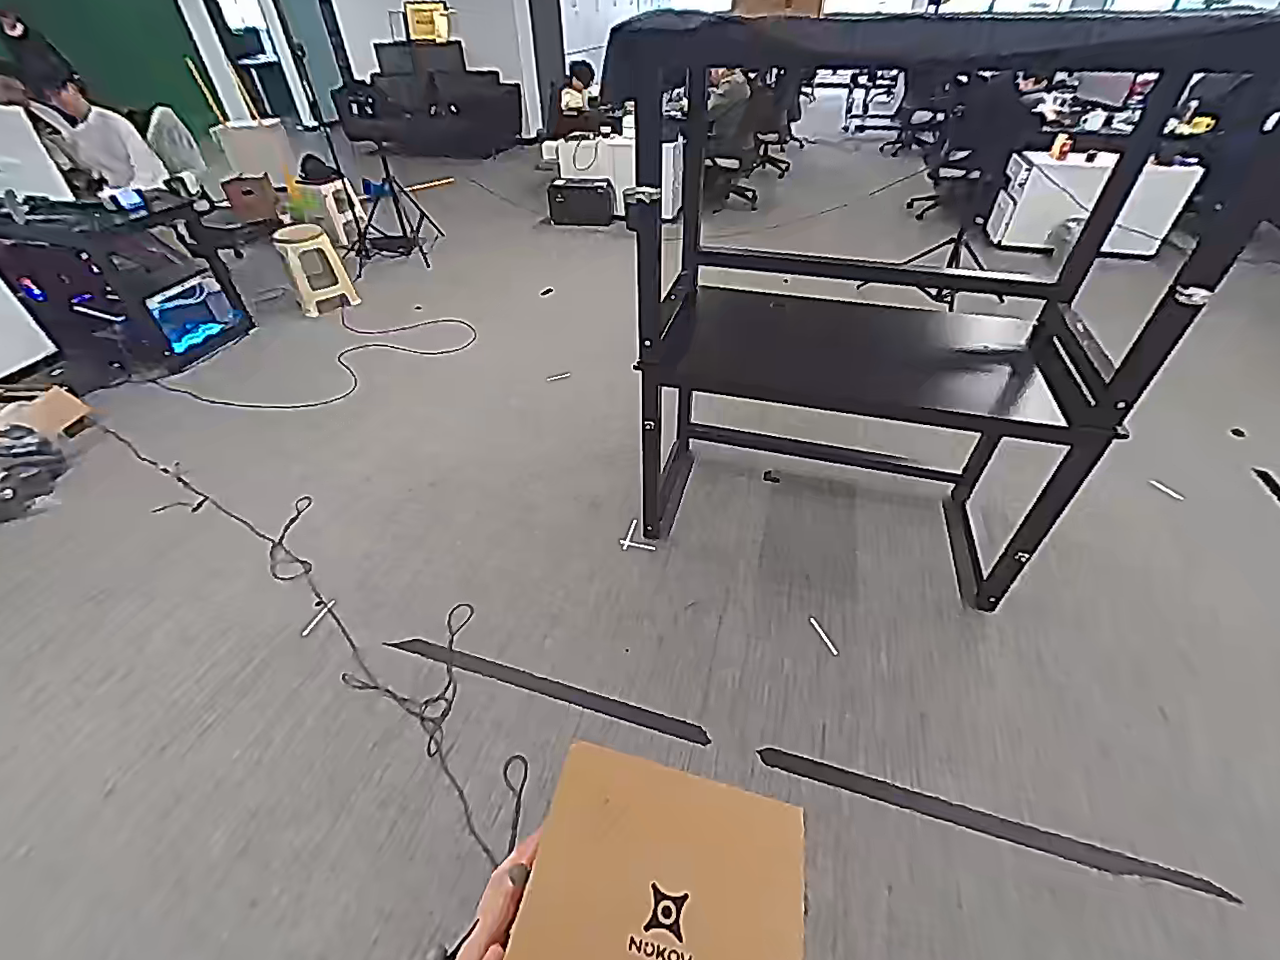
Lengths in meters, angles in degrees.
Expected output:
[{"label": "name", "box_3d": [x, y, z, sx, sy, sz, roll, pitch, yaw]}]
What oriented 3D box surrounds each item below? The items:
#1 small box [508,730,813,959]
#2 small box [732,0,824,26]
[{"label": "small box", "box_3d": [0.006, 0.307, 0.362, 0.168, 0.176, 0.179, 15, 43, 5]}, {"label": "small box", "box_3d": [0.272, -0.970, 1.015, 0.168, 0.176, 0.179, 11, 42, 11]}]
